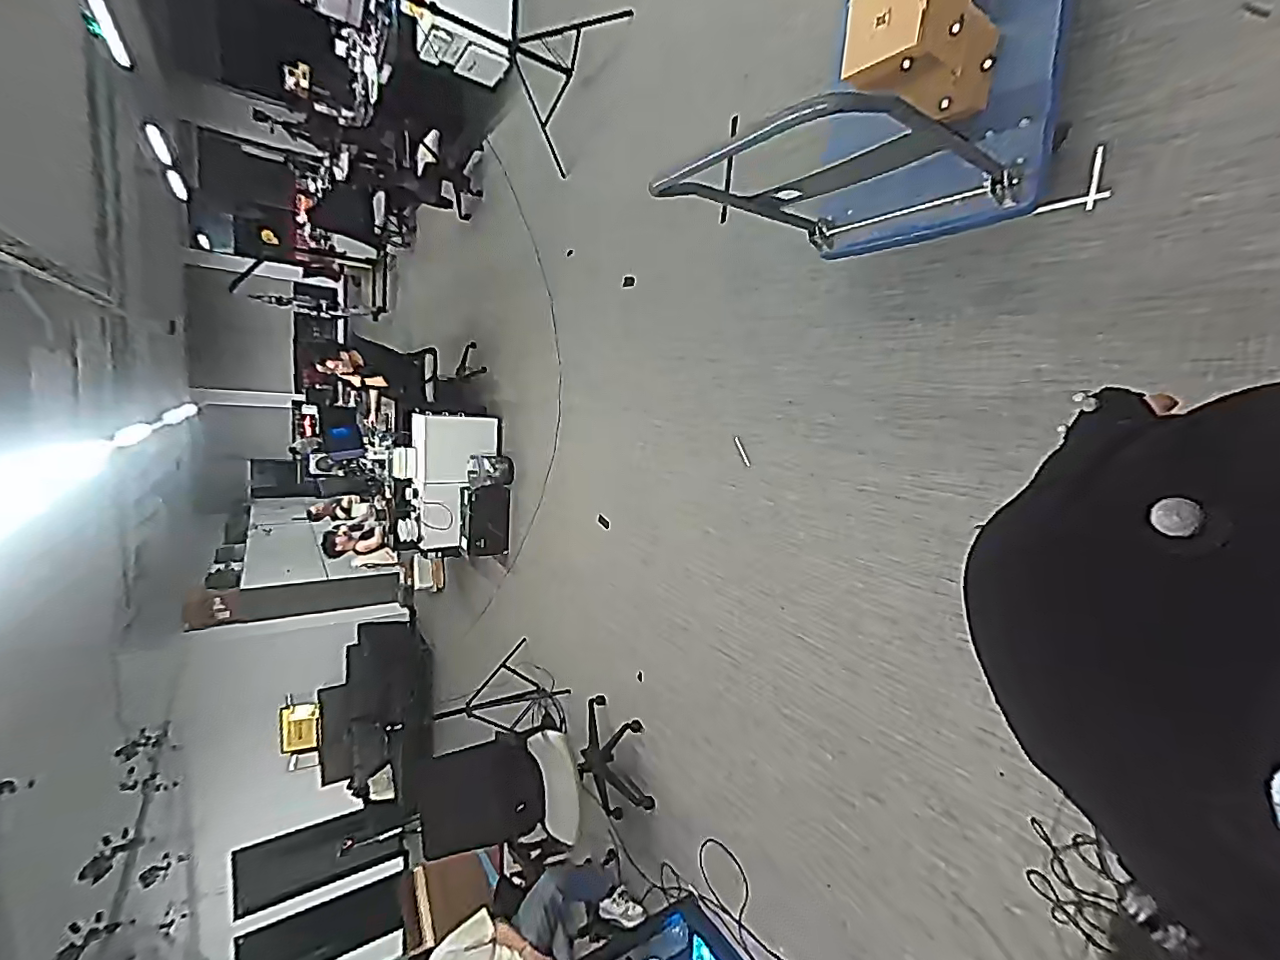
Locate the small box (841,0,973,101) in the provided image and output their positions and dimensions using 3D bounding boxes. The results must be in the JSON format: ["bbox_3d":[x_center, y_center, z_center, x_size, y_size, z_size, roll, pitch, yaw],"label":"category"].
[{"bbox_3d":[0.555,-0.936,1.130,0.179,0.176,0.168,16,105,53],"label":"small box"}]
